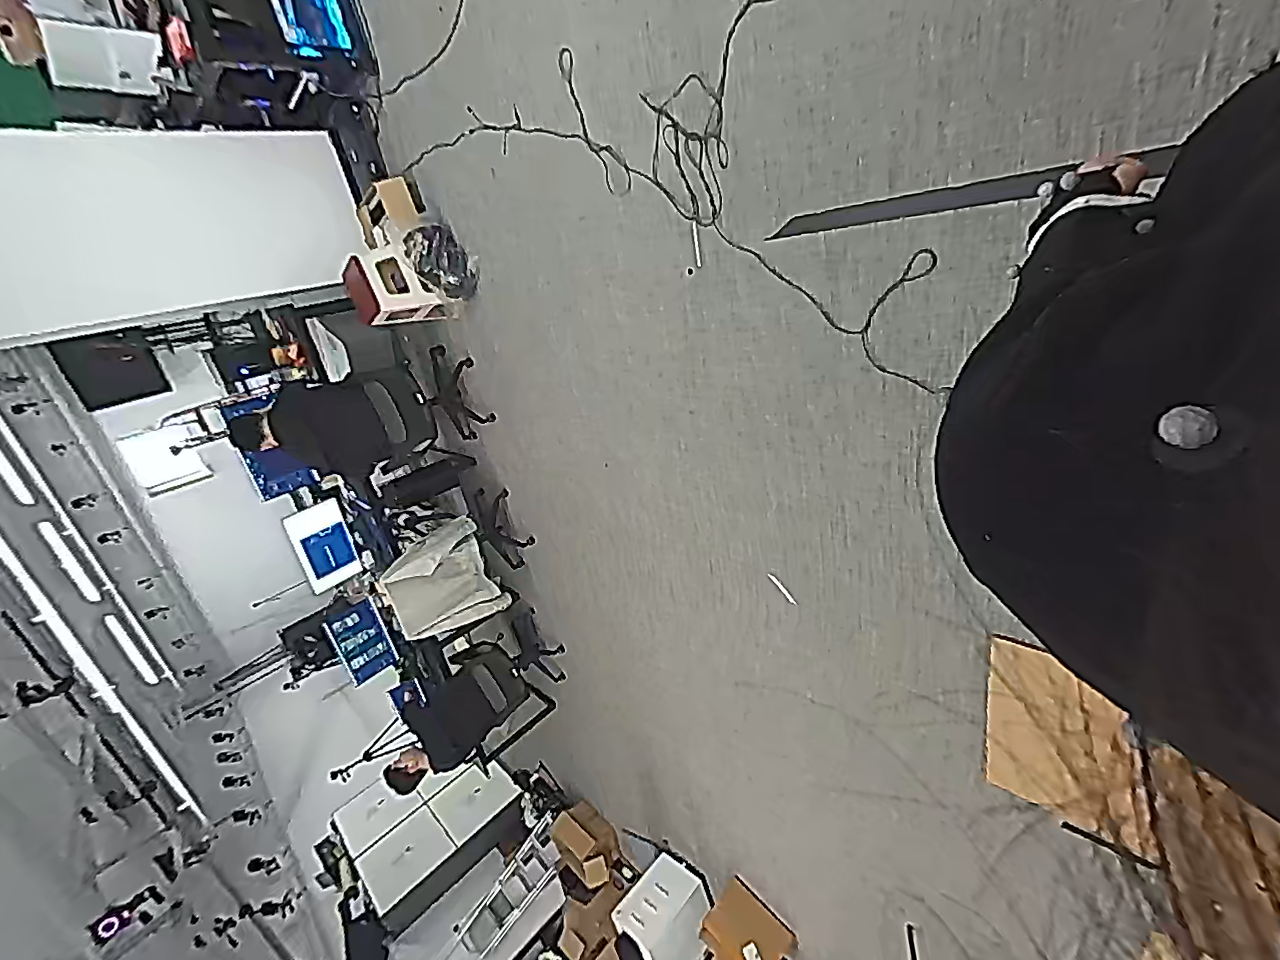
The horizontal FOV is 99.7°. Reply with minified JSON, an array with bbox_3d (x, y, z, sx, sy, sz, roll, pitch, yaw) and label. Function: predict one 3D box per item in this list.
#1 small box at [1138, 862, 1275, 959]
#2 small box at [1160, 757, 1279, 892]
[{"bbox_3d":[1.150,0.944,1.100,0.168,0.176,0.179,14,123,45],"label":"small box"},{"bbox_3d":[1.383,0.809,1.290,0.168,0.176,0.179,17,126,45],"label":"small box"}]
